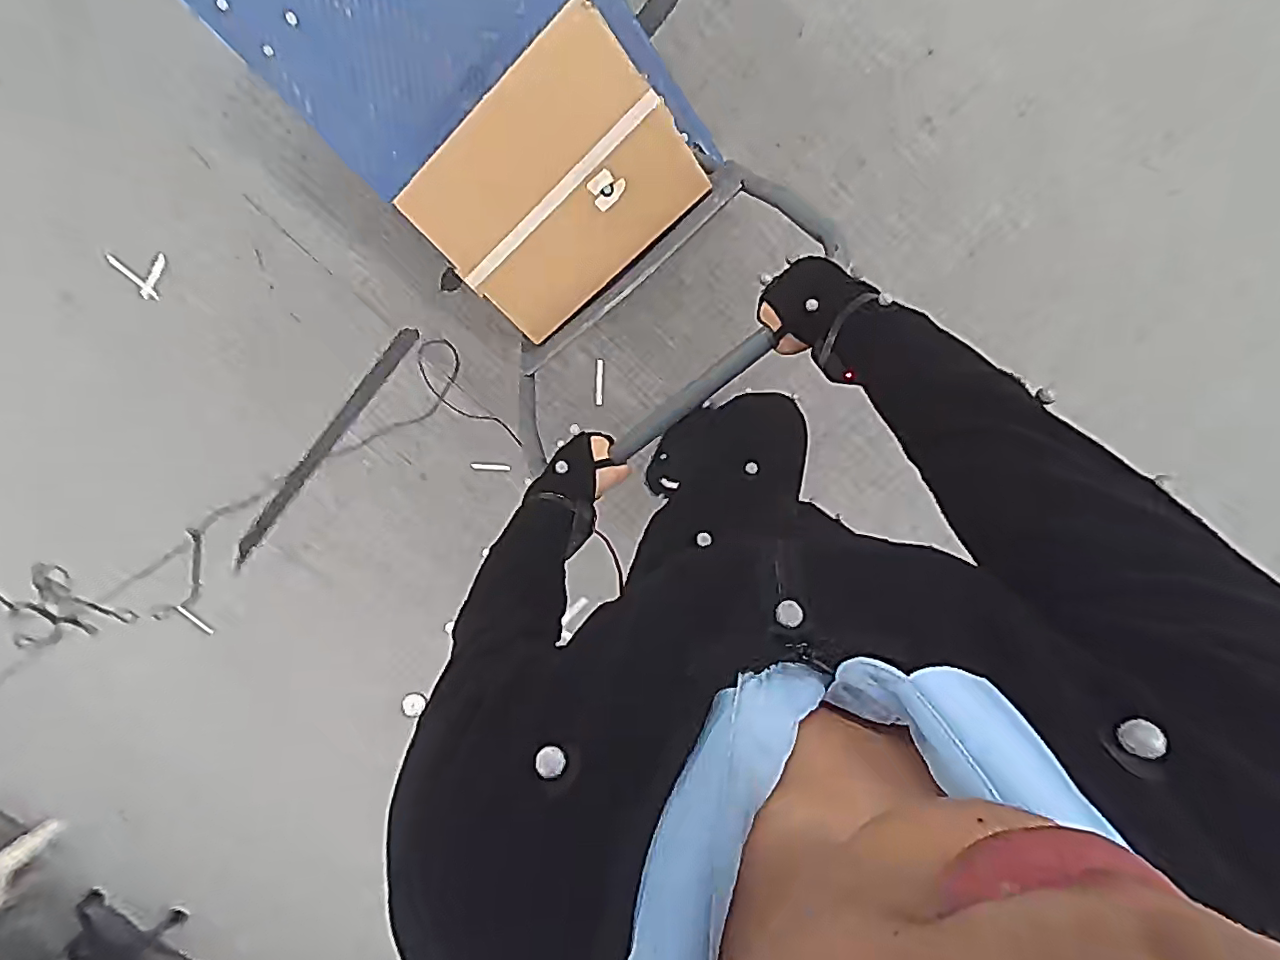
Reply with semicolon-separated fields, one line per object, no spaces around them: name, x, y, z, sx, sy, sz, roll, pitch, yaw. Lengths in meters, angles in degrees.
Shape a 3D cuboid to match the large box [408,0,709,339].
large box;-0.147;-0.545;0.997;0.408;0.320;0.320;-39;121;15
